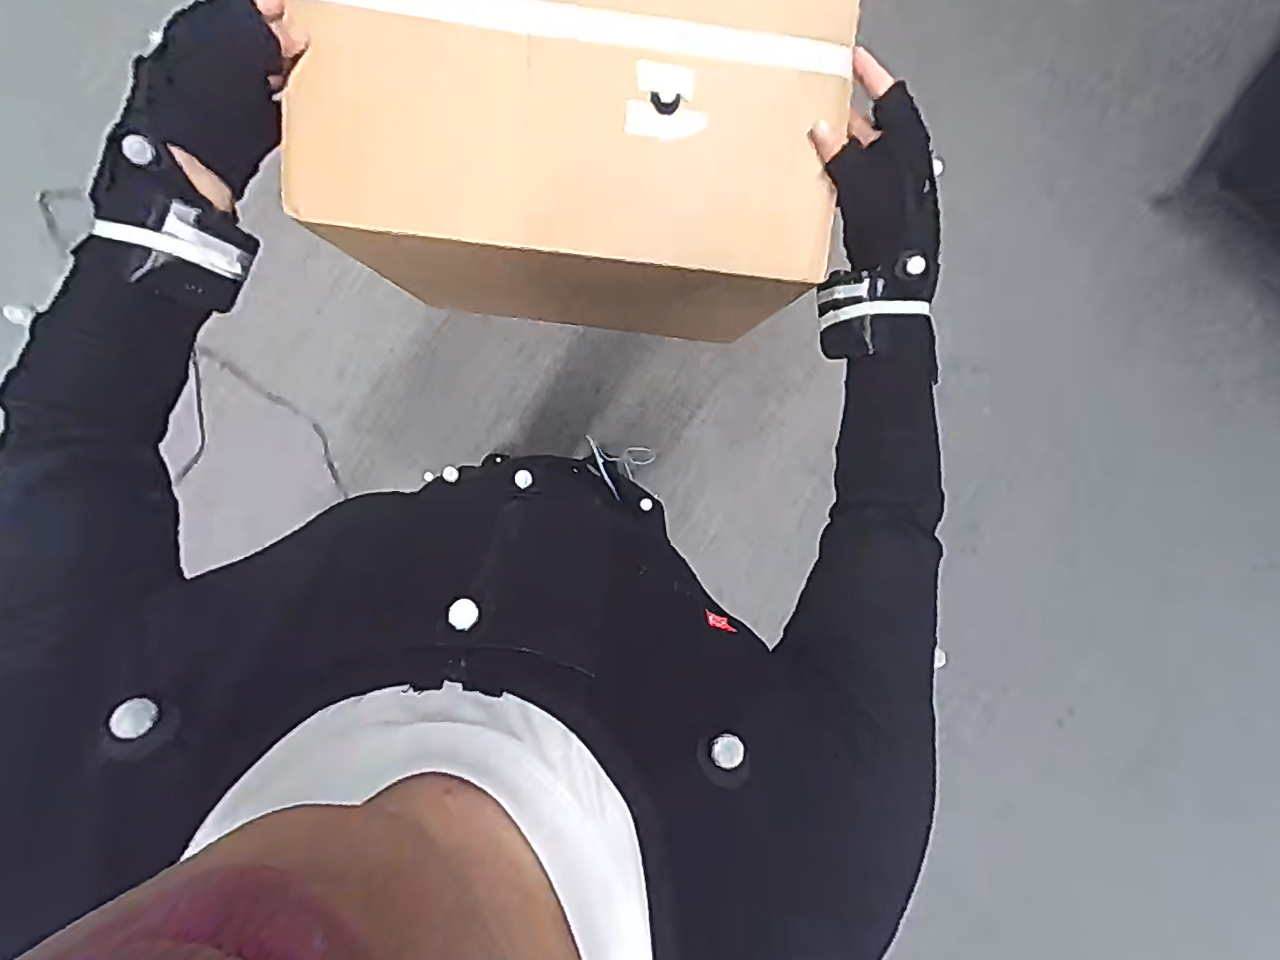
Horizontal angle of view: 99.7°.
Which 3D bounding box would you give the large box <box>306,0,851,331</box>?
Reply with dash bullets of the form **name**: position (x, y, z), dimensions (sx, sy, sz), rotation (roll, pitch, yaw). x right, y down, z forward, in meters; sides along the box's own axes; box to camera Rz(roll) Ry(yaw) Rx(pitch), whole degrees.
- **large box**: position (-0.051, -0.347, 0.549), dimensions (0.408, 0.320, 0.320), rotation (5, 96, -4)
